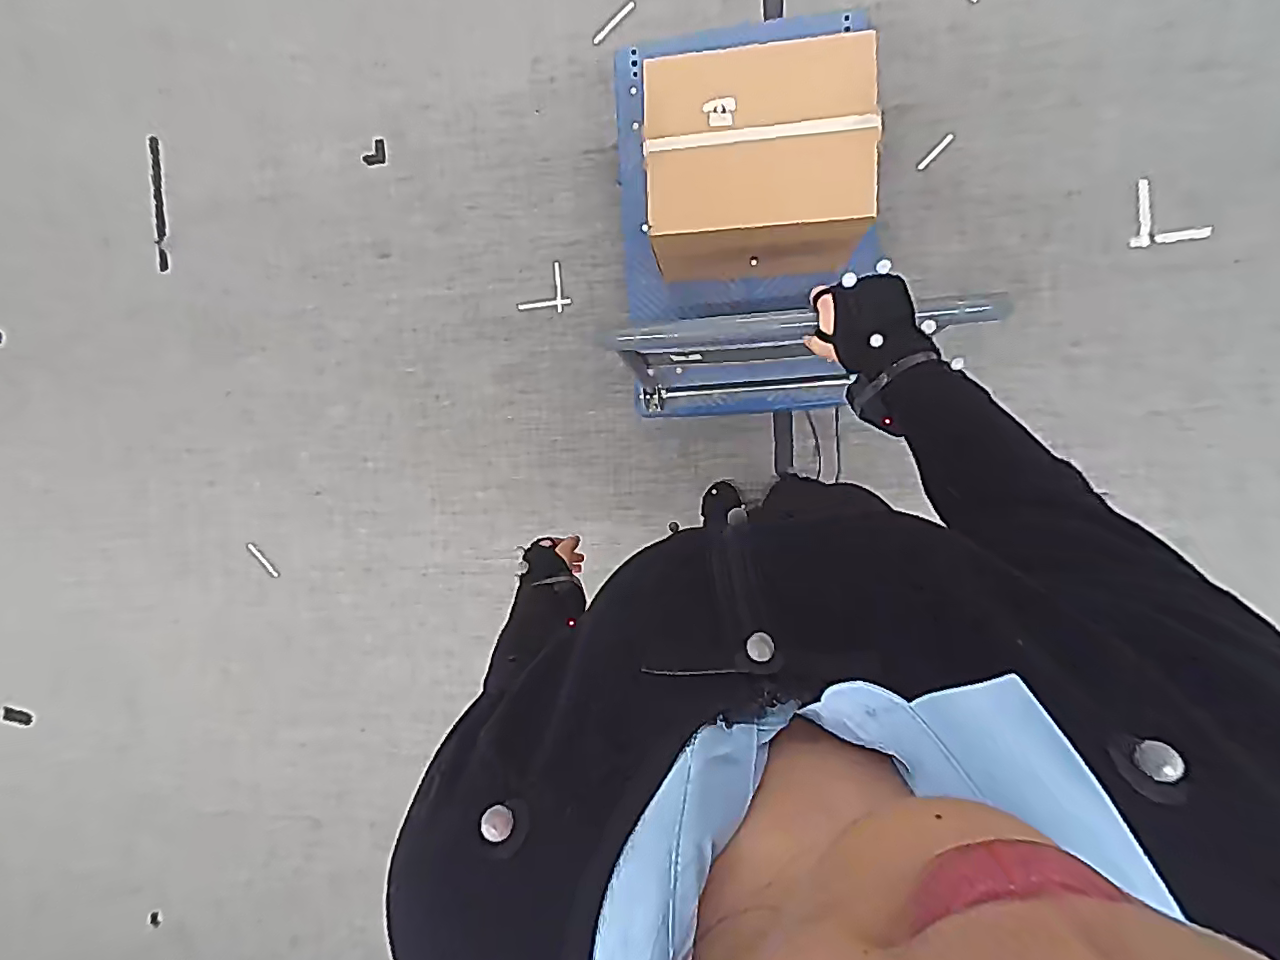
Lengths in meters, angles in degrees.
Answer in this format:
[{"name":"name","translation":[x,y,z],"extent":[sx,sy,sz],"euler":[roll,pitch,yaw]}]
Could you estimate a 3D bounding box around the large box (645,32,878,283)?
[{"name":"large box","translation":[0.236,-0.612,1.102],"extent":[0.408,0.320,0.320],"euler":[-1,93,9]}]
